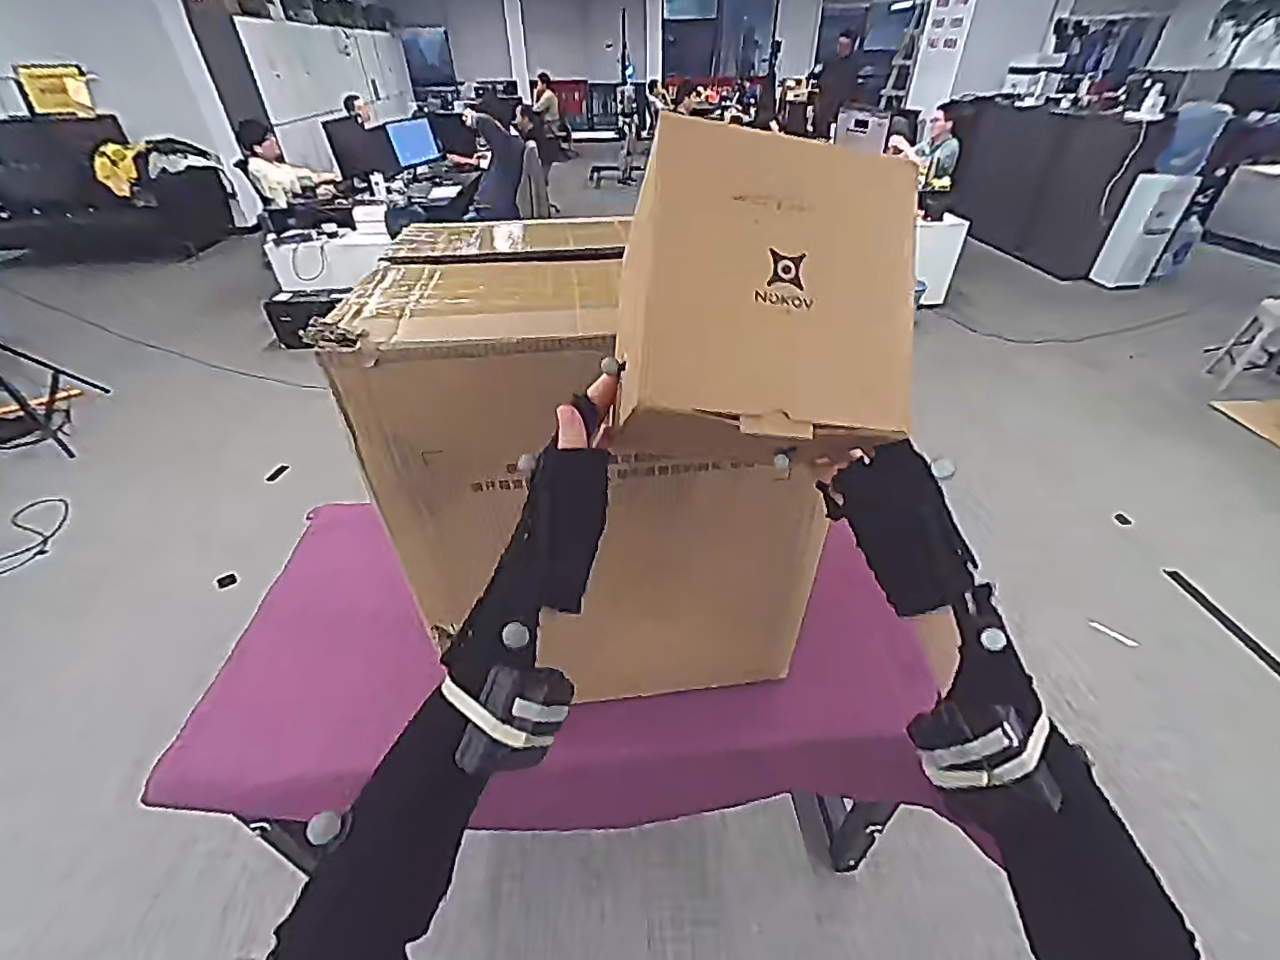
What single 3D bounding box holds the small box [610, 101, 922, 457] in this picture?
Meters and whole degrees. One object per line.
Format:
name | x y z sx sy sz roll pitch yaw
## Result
small box | 0.072 -0.115 0.388 0.168 0.179 0.176 5 -6 -10
